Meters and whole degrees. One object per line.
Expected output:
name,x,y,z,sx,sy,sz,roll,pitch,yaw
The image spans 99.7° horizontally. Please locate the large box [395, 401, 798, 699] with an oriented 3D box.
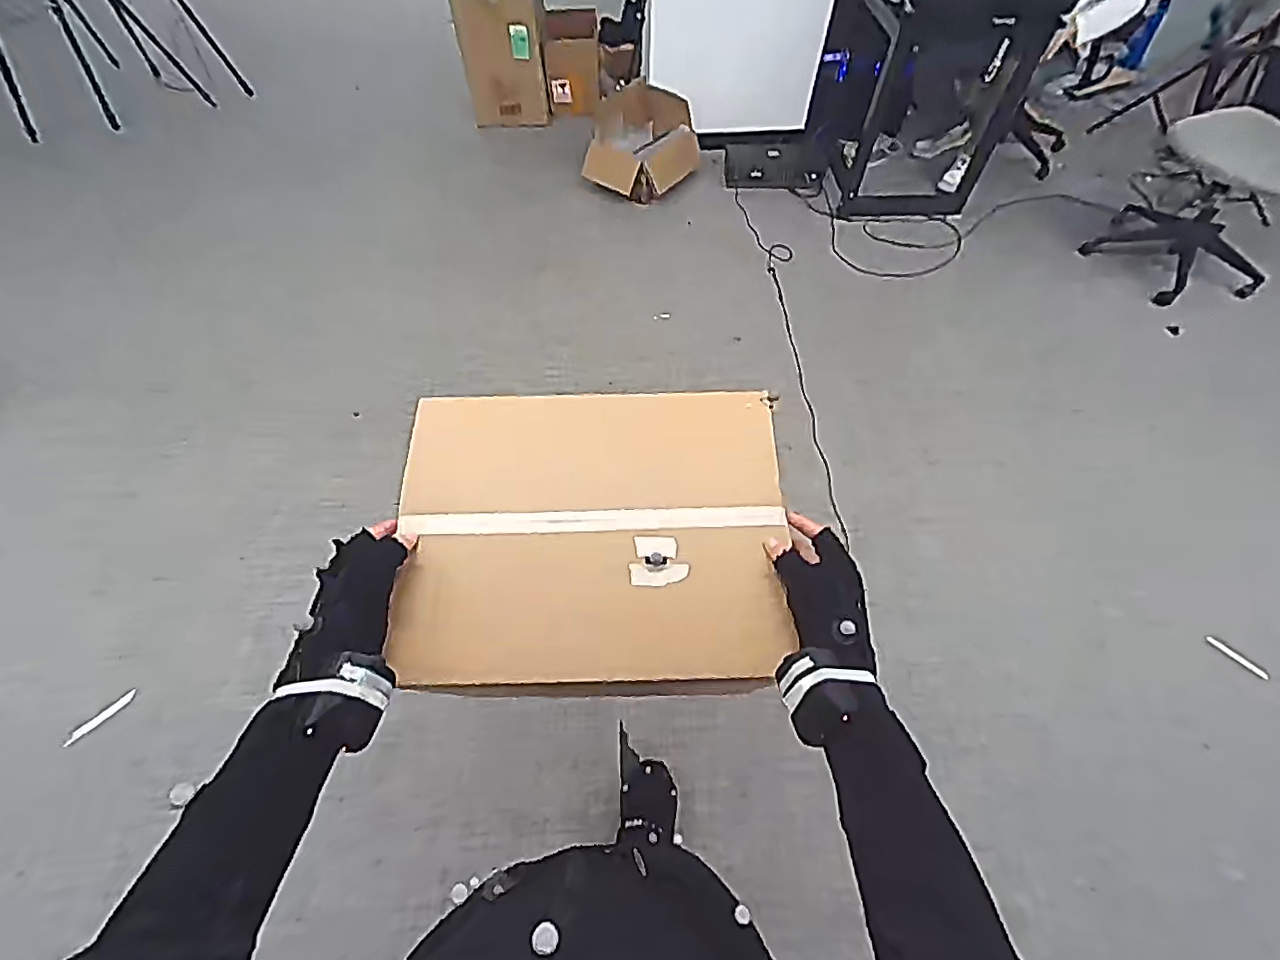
large box,-0.050,0.112,0.722,0.408,0.320,0.320,-1,66,-1
